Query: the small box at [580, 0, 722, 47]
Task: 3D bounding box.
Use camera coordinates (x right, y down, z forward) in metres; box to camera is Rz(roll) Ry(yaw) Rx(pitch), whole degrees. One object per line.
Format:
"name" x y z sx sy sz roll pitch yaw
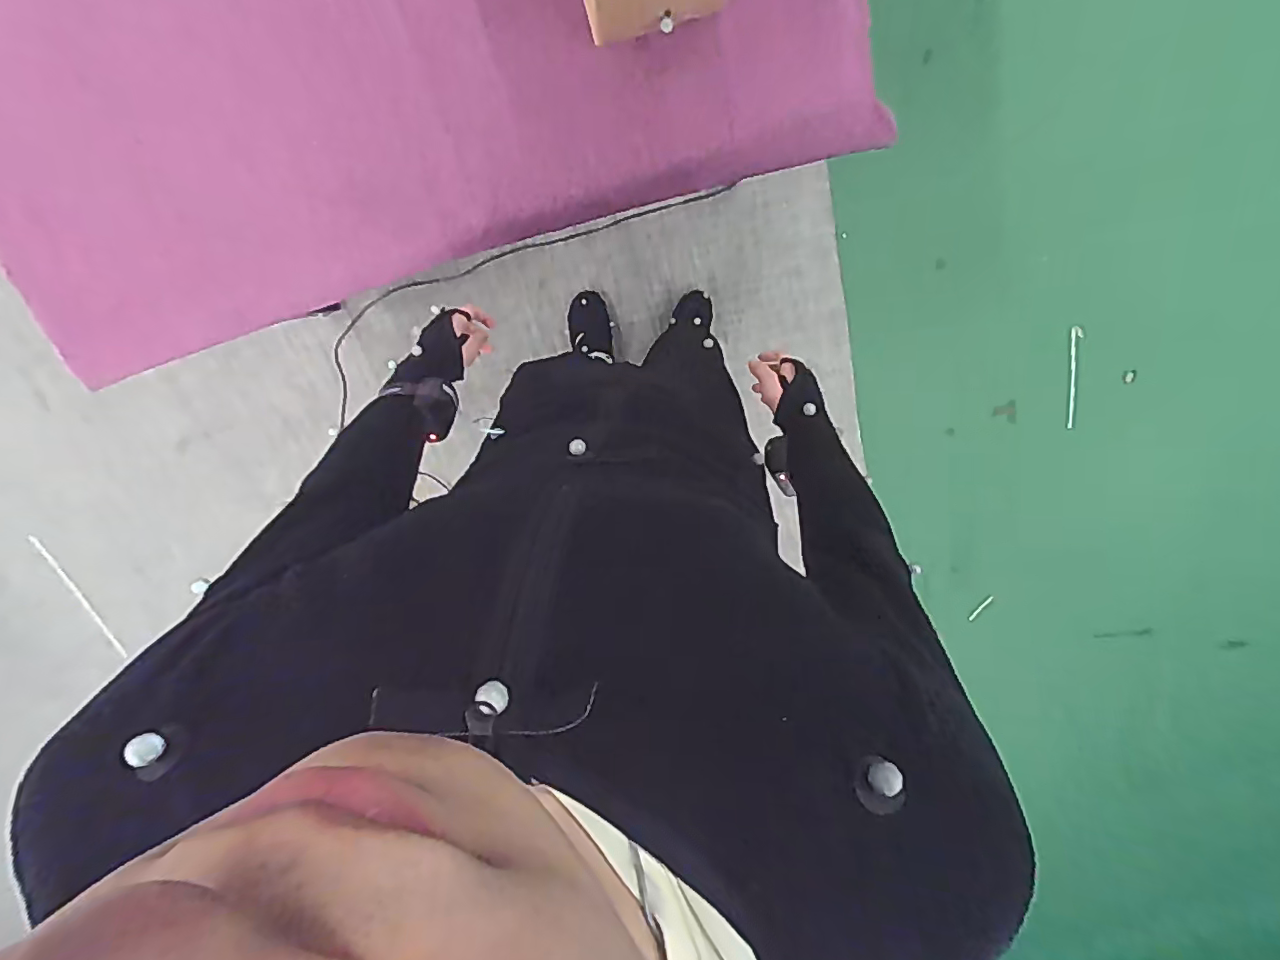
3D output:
"small box" 0.009 -0.614 0.583 0.179 0.176 0.168 -16 111 2

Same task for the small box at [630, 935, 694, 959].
"small box" 0.075 1.412 1.500 0.179 0.176 0.168 -13 109 2
